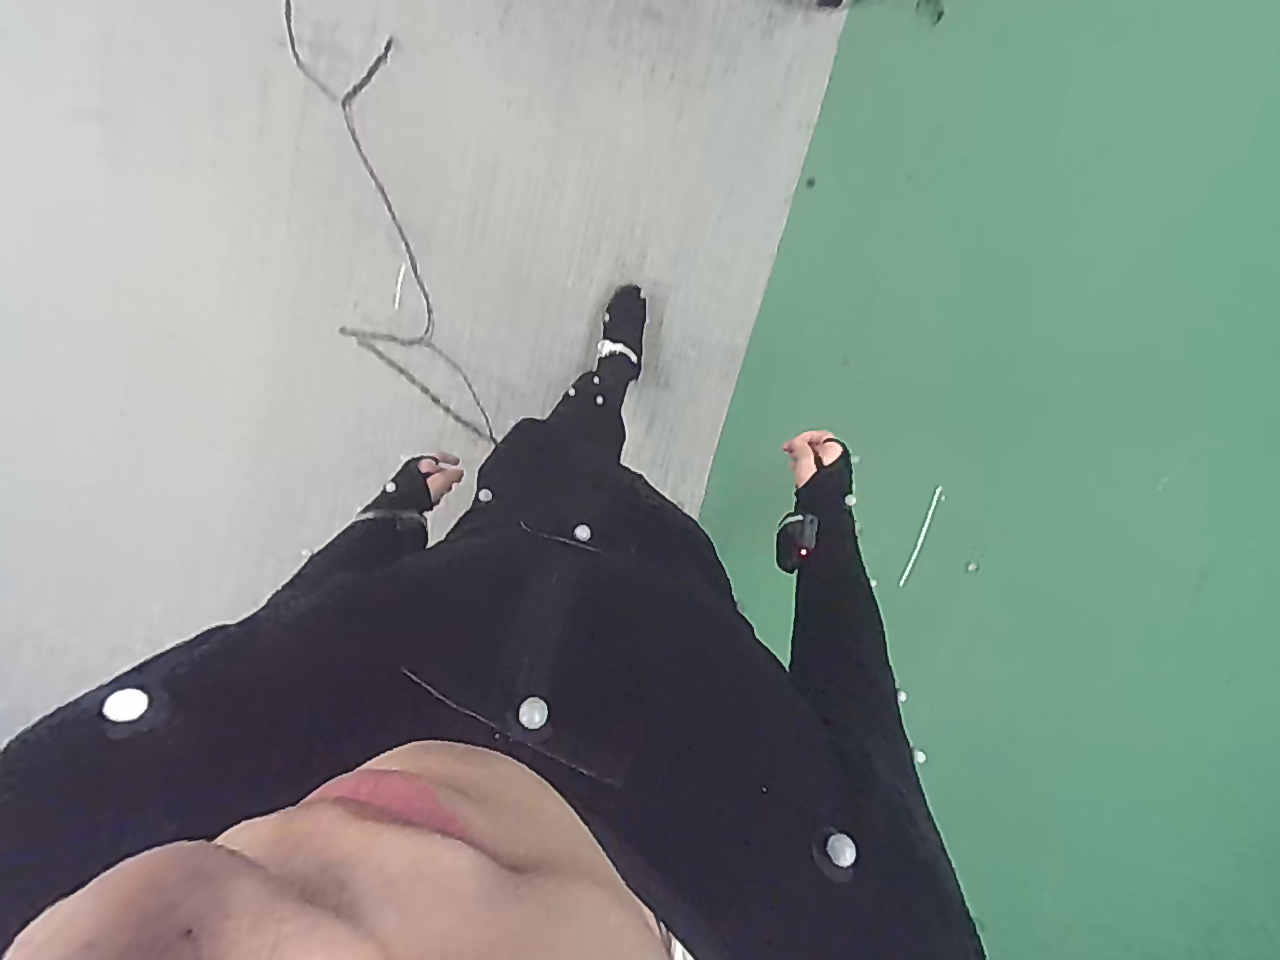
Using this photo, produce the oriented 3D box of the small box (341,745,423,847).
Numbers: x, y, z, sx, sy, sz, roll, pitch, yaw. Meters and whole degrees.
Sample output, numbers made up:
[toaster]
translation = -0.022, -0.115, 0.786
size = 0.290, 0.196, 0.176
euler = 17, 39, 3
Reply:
[small box]
translation = -0.748, 0.902, 1.560
size = 0.168, 0.176, 0.179
euler = 14, 102, 0
